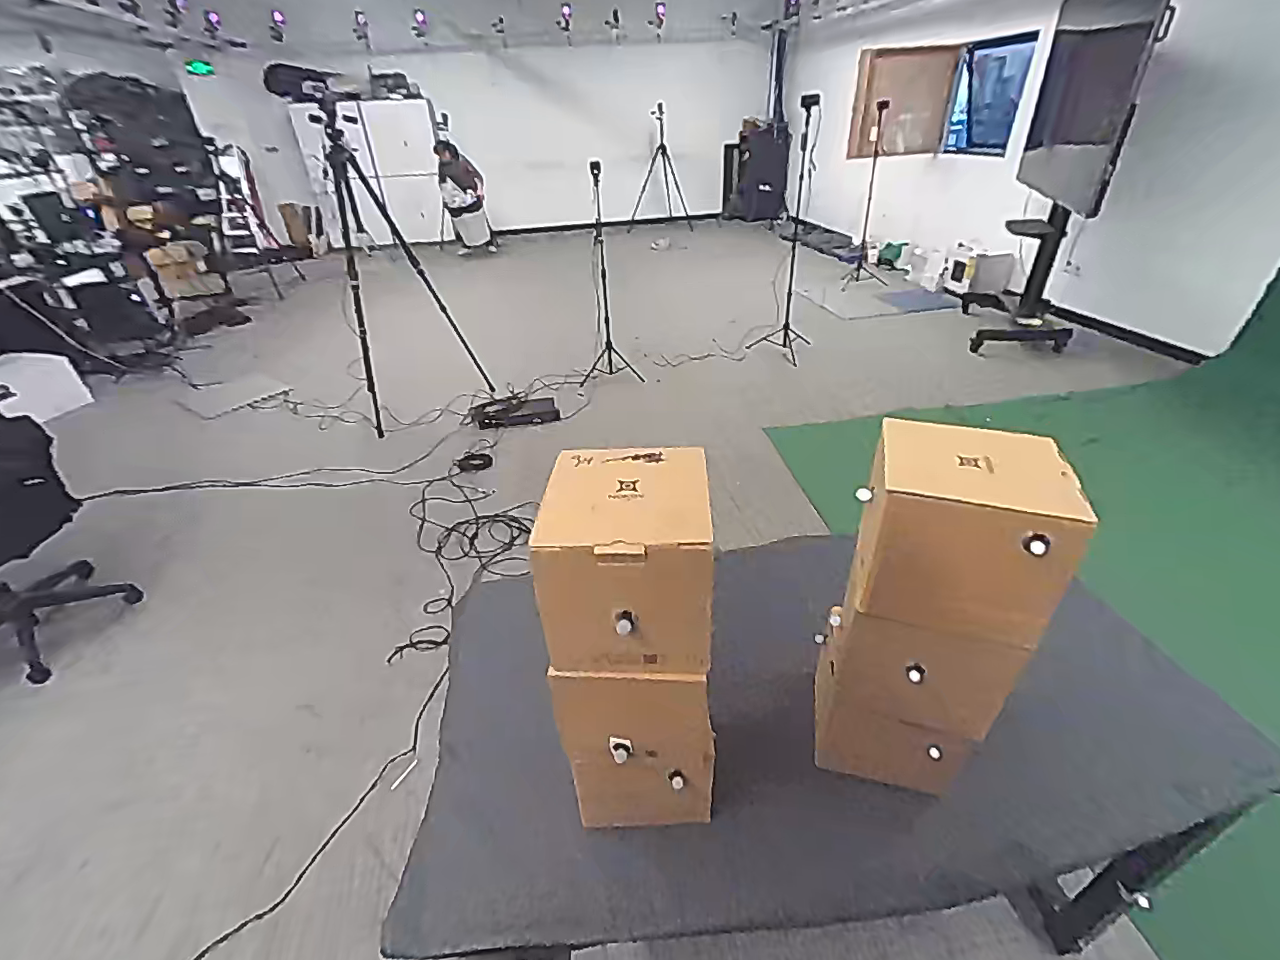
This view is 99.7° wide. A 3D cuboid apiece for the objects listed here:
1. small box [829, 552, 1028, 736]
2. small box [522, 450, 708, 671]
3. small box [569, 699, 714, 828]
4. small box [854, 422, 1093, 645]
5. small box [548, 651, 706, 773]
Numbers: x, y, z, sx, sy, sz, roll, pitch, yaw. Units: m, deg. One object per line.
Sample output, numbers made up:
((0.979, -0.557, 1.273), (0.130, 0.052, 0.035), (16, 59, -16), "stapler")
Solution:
((0.350, 0.190, 0.684), (0.179, 0.176, 0.168), (10, 35, 20), "small box")
((-0.013, 0.085, 0.579), (0.168, 0.176, 0.179), (-1, 34, 5), "small box")
((0.004, 0.360, 0.755), (0.179, 0.176, 0.168), (-3, 32, 1), "small box")
((0.340, 0.054, 0.595), (0.179, 0.176, 0.168), (10, 34, 17), "small box")
((-0.004, 0.226, 0.664), (0.168, 0.176, 0.179), (-1, 34, 6), "small box")
